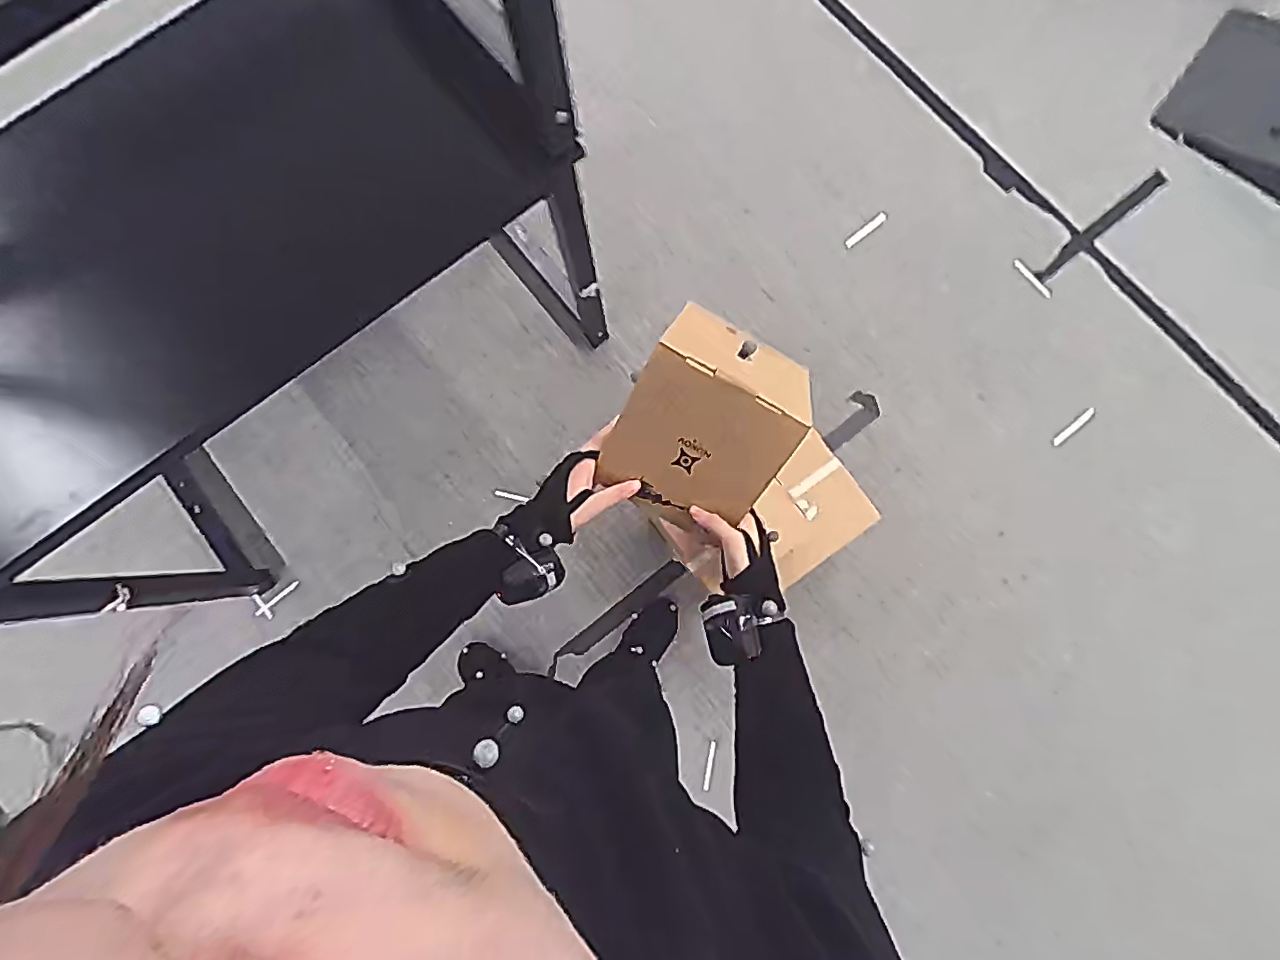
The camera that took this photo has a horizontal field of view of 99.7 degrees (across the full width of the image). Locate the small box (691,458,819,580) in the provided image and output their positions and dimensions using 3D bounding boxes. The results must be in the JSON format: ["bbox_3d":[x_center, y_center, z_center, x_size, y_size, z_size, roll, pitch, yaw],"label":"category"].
[{"bbox_3d":[0.216,0.081,1.076,0.179,0.176,0.168,-35,82,-4],"label":"small box"}]

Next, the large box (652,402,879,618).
[{"bbox_3d":[0.276,0.082,1.323,0.408,0.320,0.320,-35,85,-5],"label":"large box"}]
